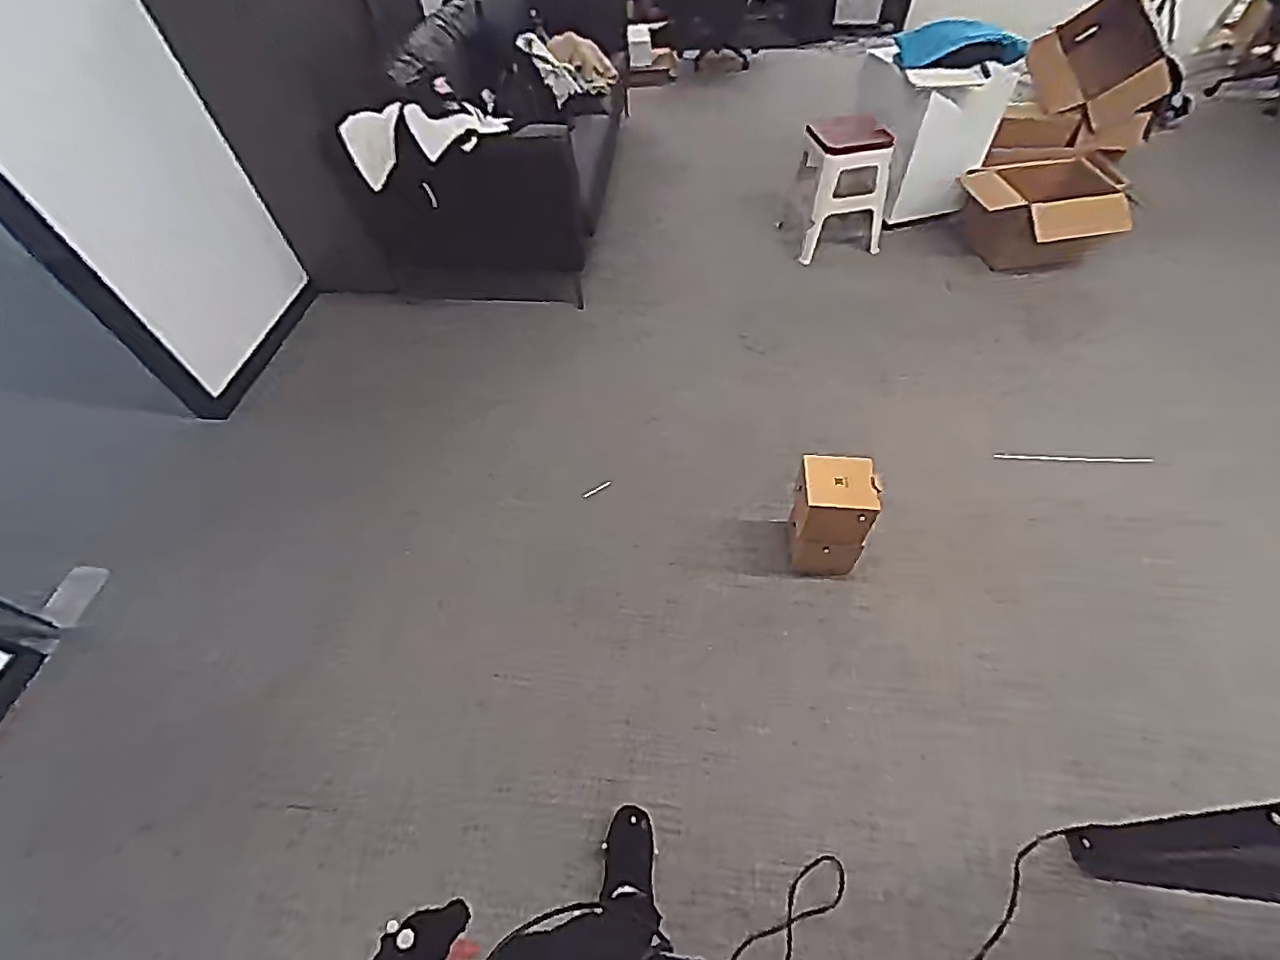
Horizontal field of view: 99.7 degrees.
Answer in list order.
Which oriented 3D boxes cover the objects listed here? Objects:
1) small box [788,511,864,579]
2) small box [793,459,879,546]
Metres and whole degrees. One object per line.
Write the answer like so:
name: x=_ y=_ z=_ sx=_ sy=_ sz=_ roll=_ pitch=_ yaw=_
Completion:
small box: x=0.530 y=0.164 z=1.564 sx=0.168 sy=0.176 sz=0.179 roll=2 pitch=52 yaw=5
small box: x=0.510 y=0.063 z=1.437 sx=0.179 sy=0.176 sz=0.168 roll=3 pitch=53 yaw=5
